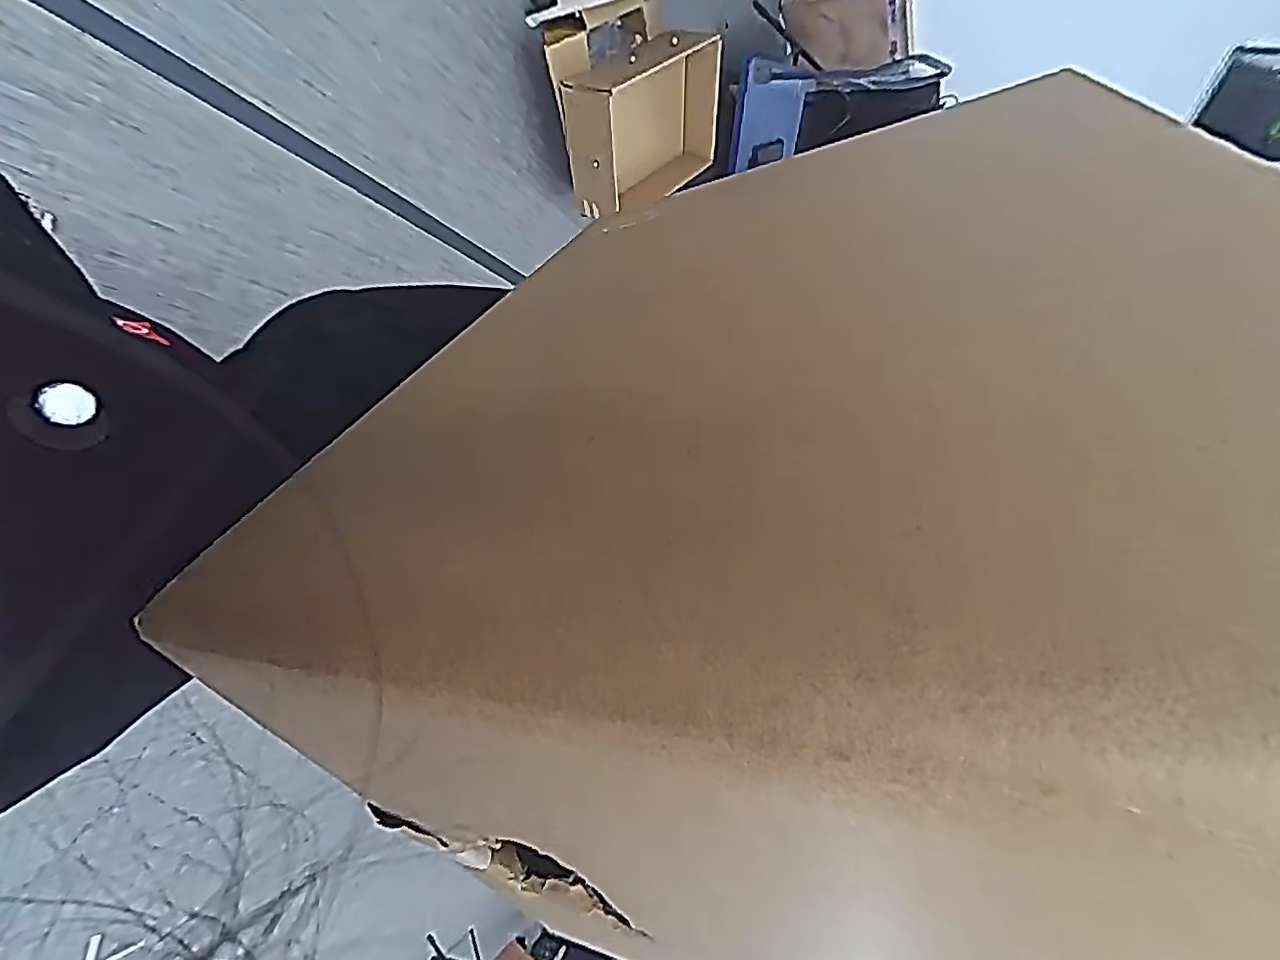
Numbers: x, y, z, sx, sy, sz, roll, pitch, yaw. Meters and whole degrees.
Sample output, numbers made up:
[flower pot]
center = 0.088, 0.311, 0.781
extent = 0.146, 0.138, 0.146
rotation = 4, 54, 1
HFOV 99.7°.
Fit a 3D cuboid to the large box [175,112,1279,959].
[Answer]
[large box]
center = 0.088, 0.027, 0.330
extent = 0.408, 0.320, 0.320
rotation = -63, 142, -44
